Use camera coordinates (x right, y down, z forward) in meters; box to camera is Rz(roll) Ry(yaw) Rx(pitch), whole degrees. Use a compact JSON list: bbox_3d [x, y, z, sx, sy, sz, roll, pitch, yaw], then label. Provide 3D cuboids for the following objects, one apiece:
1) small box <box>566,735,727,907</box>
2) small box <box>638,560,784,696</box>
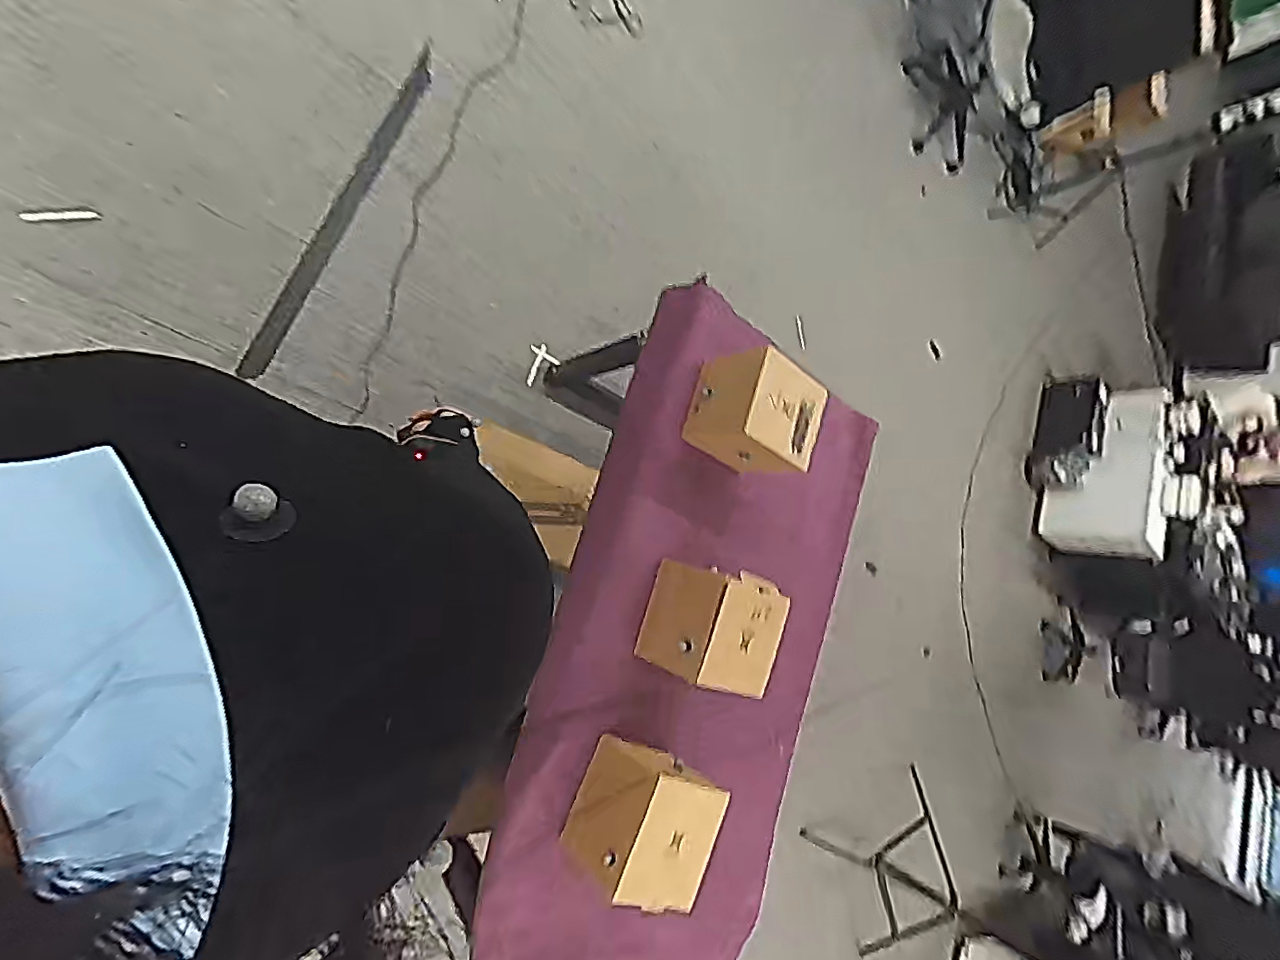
[{"bbox_3d":[0.005,0.543,0.879,0.168,0.176,0.179,33,73,-31],"label":"small box"},{"bbox_3d":[0.120,0.255,0.953,0.168,0.176,0.179,26,76,-35],"label":"small box"}]
